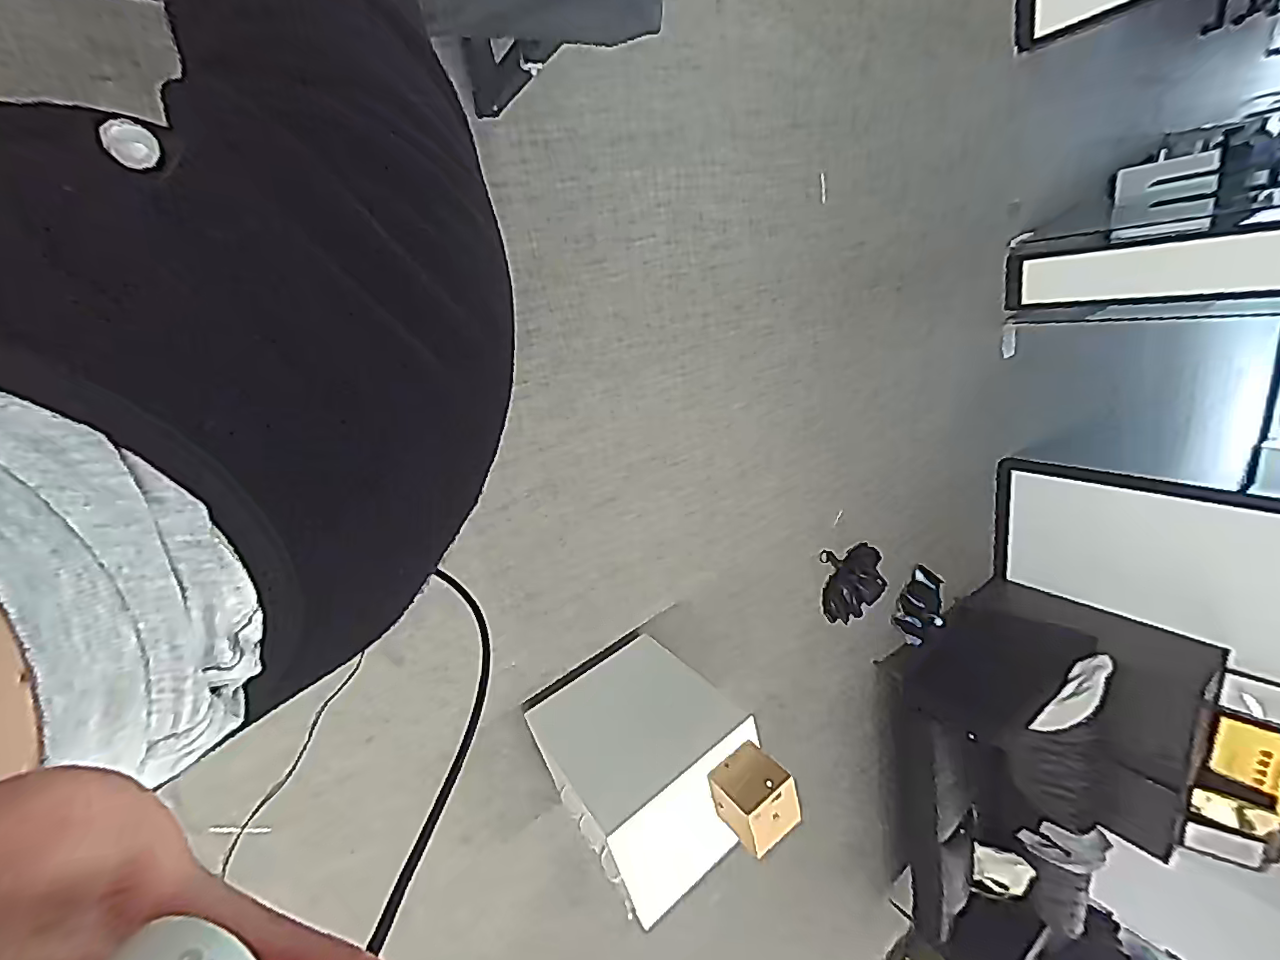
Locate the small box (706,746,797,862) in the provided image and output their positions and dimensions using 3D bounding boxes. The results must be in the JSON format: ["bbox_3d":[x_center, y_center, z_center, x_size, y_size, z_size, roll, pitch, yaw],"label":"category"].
[{"bbox_3d":[0.302,0.877,1.479,0.168,0.176,0.179,-26,116,-26],"label":"small box"}]
